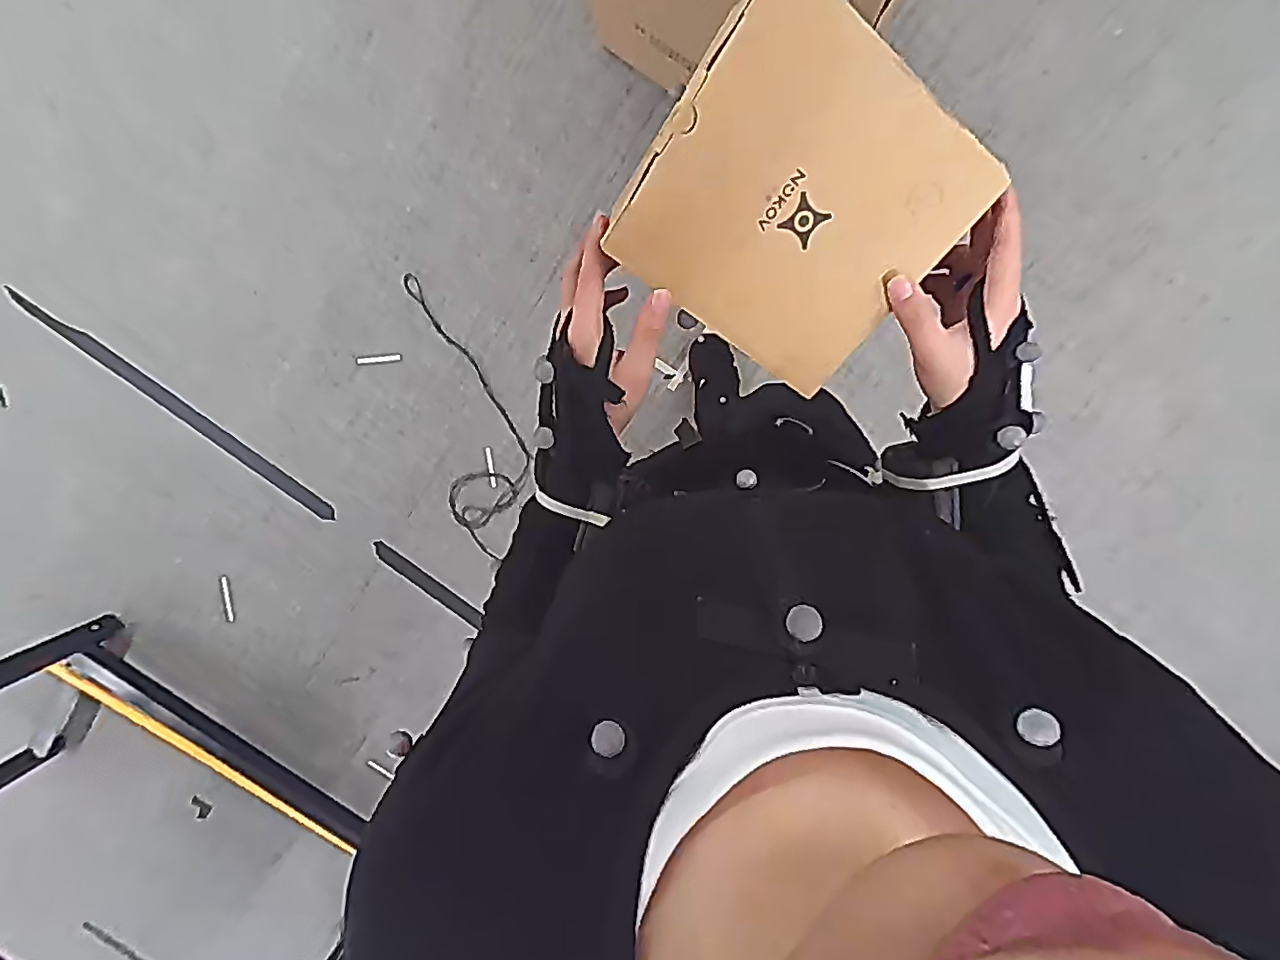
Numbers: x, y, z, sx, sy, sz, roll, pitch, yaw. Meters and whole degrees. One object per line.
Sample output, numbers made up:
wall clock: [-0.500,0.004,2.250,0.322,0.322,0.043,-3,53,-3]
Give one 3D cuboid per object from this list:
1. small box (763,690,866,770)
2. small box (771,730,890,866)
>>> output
small box: [0.442,0.684,1.399,0.179,0.176,0.168,35,102,-1]
small box: [0.426,0.716,1.238,0.179,0.176,0.168,34,101,-1]
